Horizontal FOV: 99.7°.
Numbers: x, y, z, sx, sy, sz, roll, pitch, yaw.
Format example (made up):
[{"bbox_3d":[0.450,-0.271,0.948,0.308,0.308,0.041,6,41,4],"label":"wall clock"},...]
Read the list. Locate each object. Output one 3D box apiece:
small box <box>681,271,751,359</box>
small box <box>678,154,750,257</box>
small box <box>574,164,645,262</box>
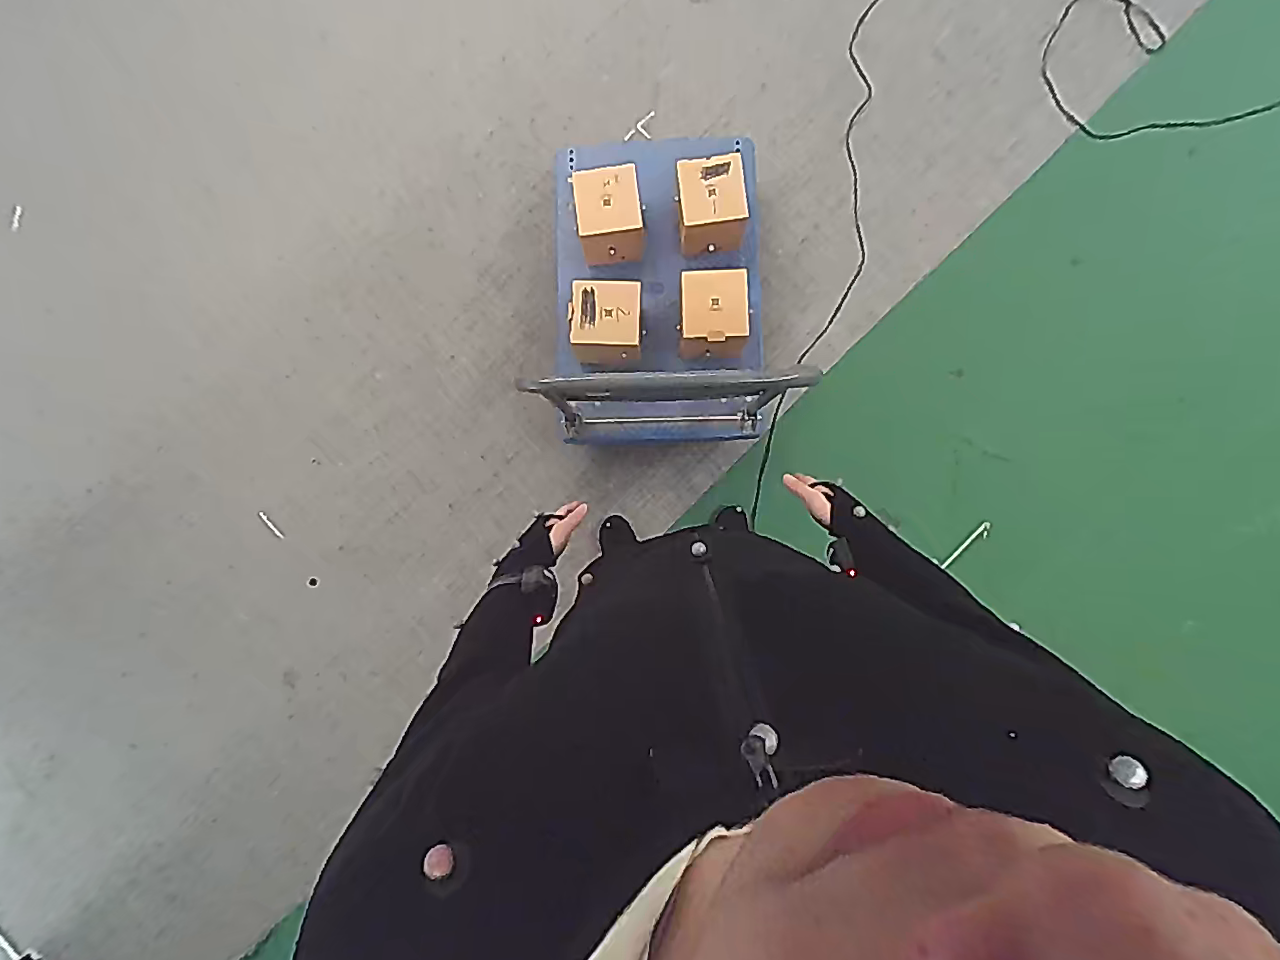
[{"bbox_3d":[0.195,-0.429,1.423,0.168,0.176,0.179,-2,87,2],"label":"small box"},{"bbox_3d":[0.191,-0.725,1.441,0.168,0.176,0.179,-6,87,3],"label":"small box"},{"bbox_3d":[-0.077,-0.704,1.450,0.168,0.176,0.179,-7,86,1],"label":"small box"}]
